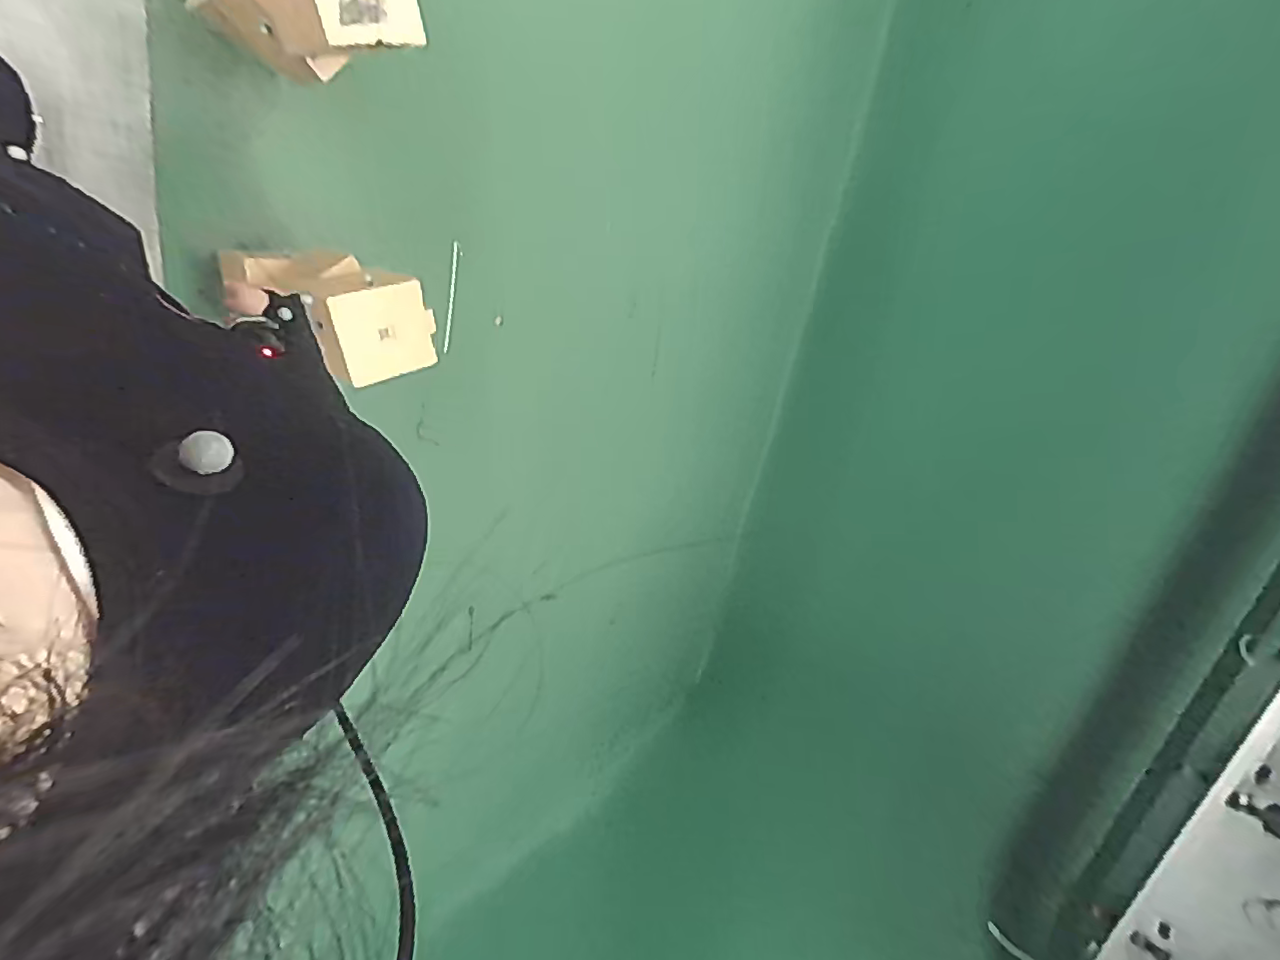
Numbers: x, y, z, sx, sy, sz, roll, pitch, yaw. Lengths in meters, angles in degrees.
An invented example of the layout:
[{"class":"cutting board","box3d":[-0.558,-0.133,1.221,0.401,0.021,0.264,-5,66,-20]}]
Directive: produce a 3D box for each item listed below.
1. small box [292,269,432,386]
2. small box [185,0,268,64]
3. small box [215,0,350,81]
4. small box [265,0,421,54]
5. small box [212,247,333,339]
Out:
[{"class":"small box","box3d":[-0.539,-0.301,1.045,0.179,0.176,0.168,-32,135,-39]},{"class":"small box","box3d":[-0.711,-0.912,1.014,0.179,0.176,0.168,16,99,-56]},{"class":"small box","box3d":[-0.600,-0.825,0.928,0.168,0.176,0.179,-55,146,-12]},{"class":"small box","box3d":[-0.474,-0.774,0.834,0.168,0.176,0.179,-35,135,-35]},{"class":"small box","box3d":[-0.804,-0.418,1.200,0.179,0.176,0.168,-23,128,-46]}]
